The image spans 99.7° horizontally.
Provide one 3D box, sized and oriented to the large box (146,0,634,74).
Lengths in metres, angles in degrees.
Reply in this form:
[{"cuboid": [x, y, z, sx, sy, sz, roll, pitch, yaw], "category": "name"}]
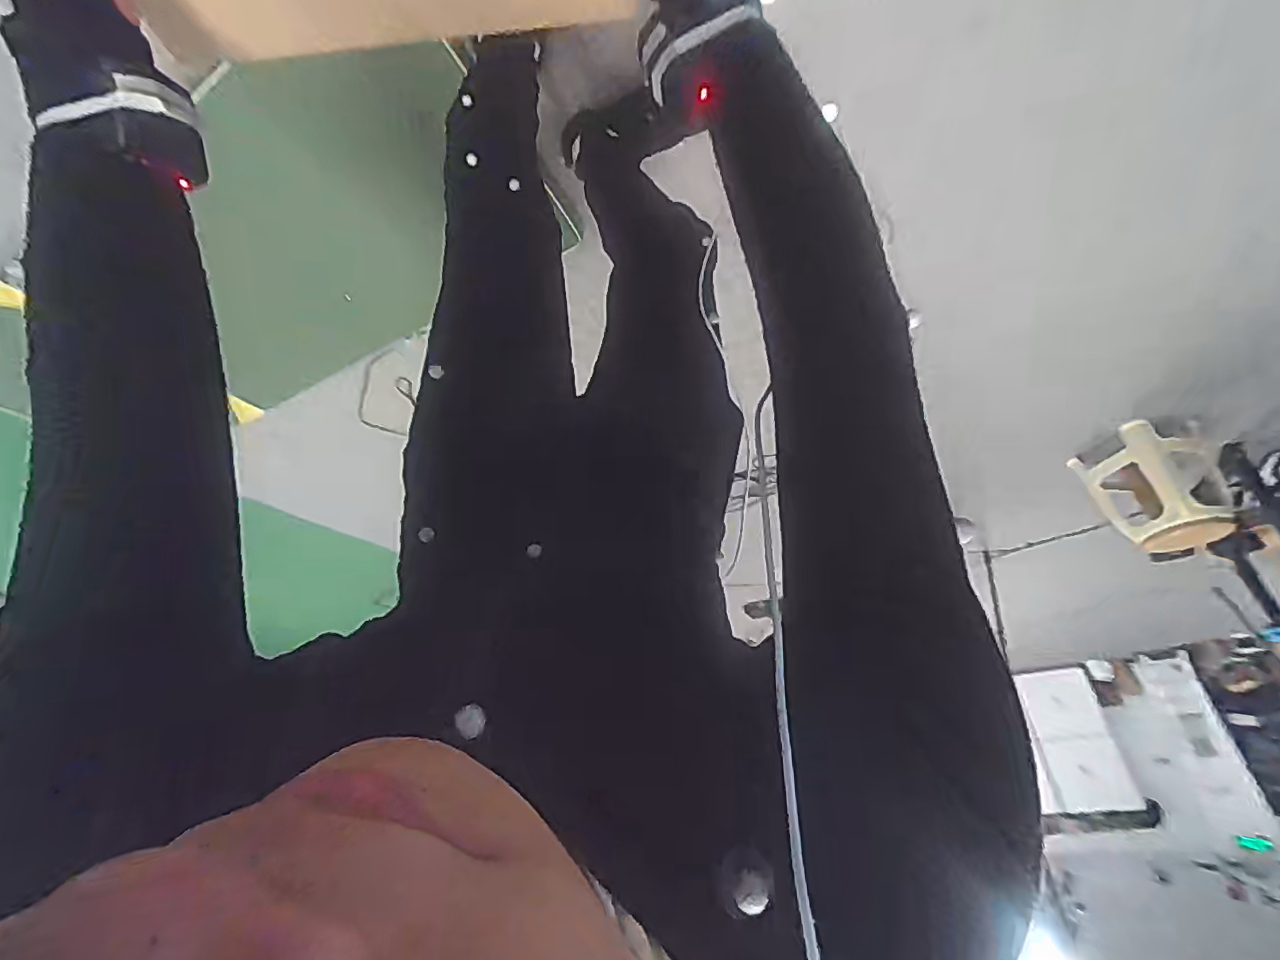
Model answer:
[{"cuboid": [-0.224, -0.586, 0.412, 0.408, 0.320, 0.320, -6, 153, 3], "category": "large box"}]
